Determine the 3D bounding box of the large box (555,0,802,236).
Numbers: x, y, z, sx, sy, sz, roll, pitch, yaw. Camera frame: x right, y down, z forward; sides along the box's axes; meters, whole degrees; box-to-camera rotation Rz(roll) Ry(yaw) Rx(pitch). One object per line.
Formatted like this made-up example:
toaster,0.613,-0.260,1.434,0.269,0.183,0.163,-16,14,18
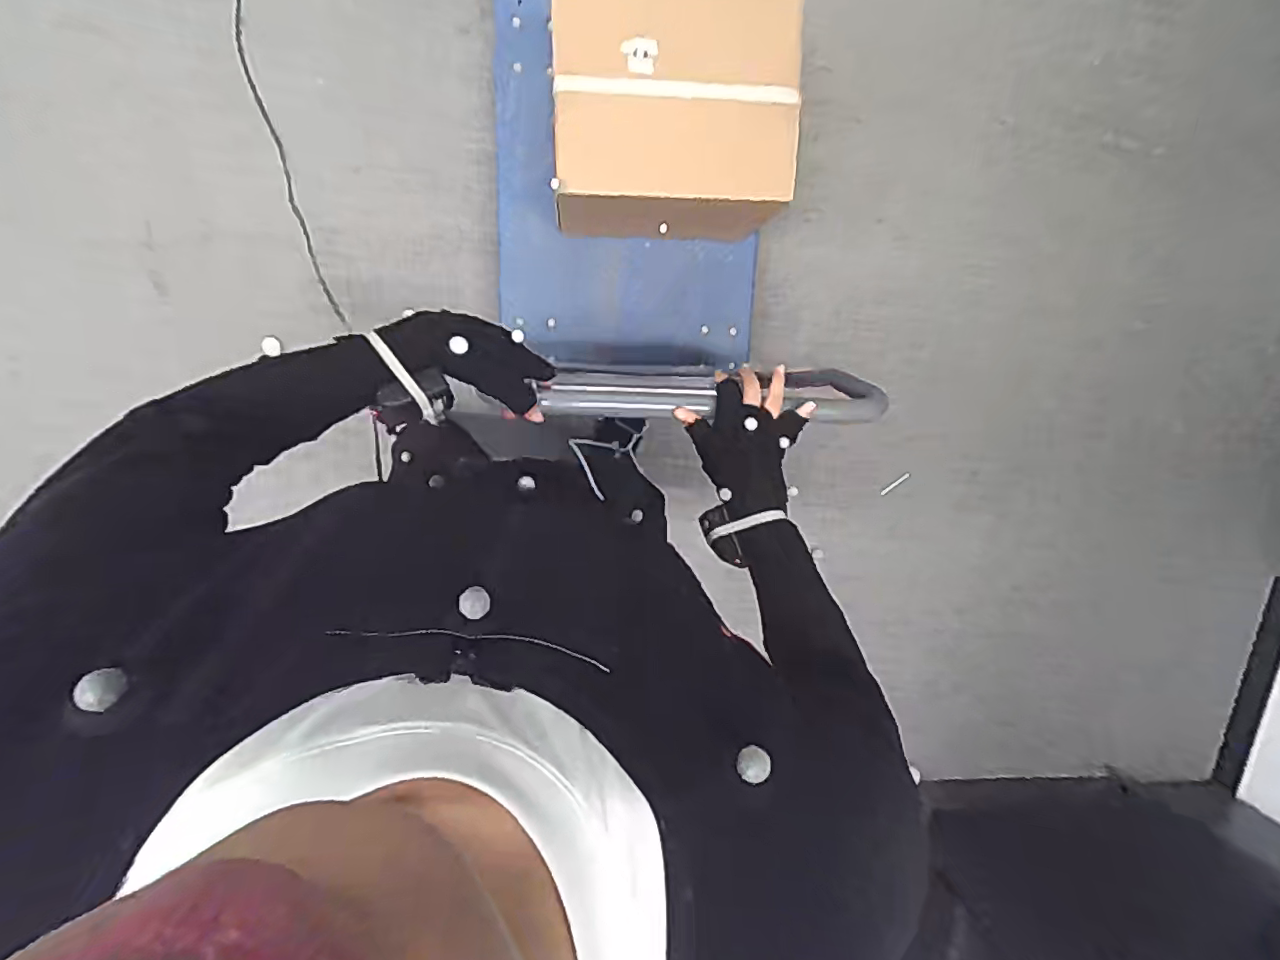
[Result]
large box,0.054,-0.658,1.027,0.408,0.320,0.320,-2,102,-6
